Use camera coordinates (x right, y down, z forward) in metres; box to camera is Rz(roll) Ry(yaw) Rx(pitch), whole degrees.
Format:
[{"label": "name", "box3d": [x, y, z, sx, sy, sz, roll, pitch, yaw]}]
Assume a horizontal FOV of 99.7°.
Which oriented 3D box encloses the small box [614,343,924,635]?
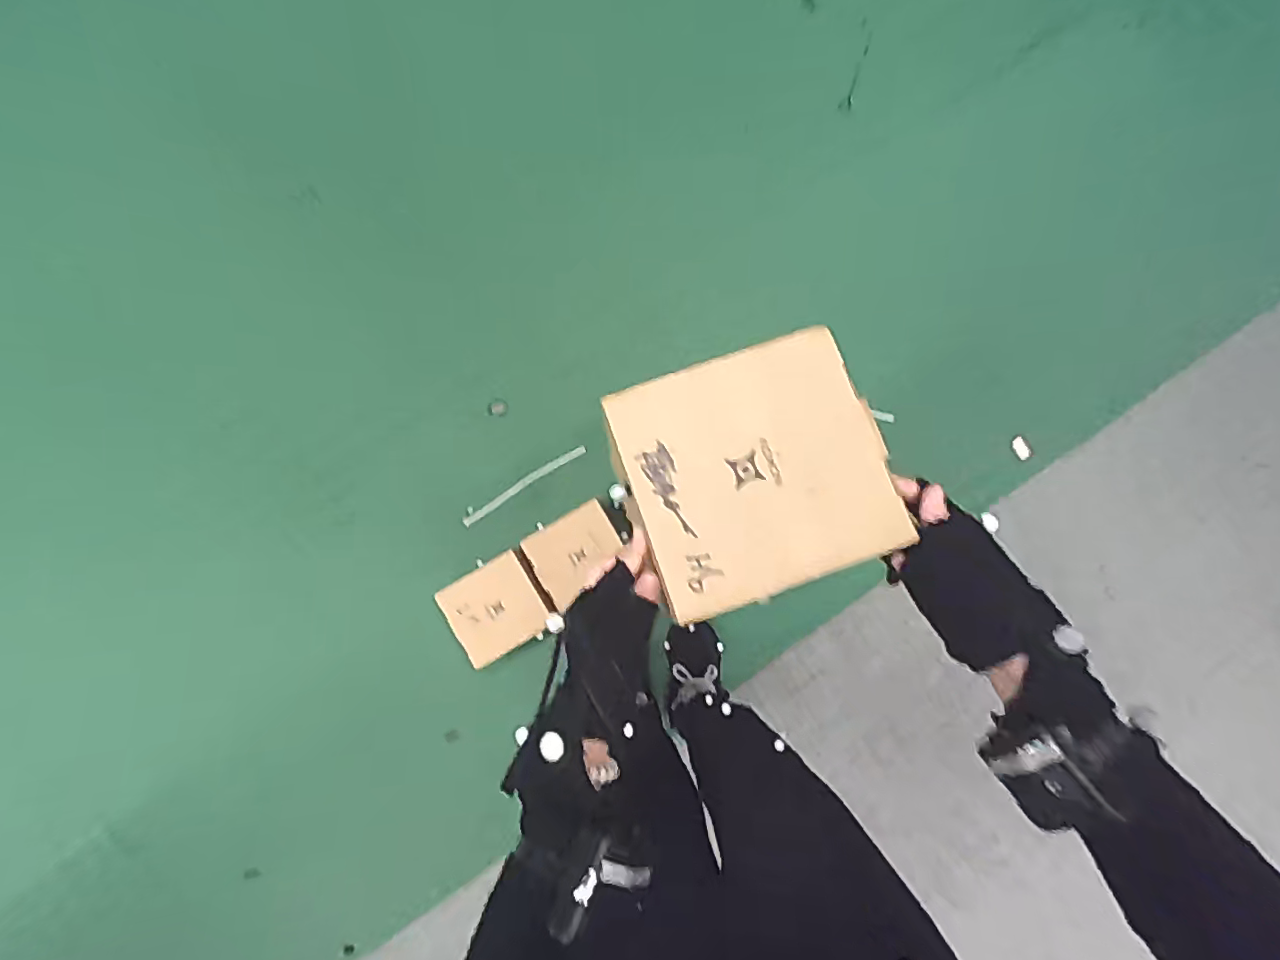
[{"label": "small box", "box3d": [0.083, 0.017, 0.444, 0.179, 0.176, 0.168, -17, 78, -5]}]
